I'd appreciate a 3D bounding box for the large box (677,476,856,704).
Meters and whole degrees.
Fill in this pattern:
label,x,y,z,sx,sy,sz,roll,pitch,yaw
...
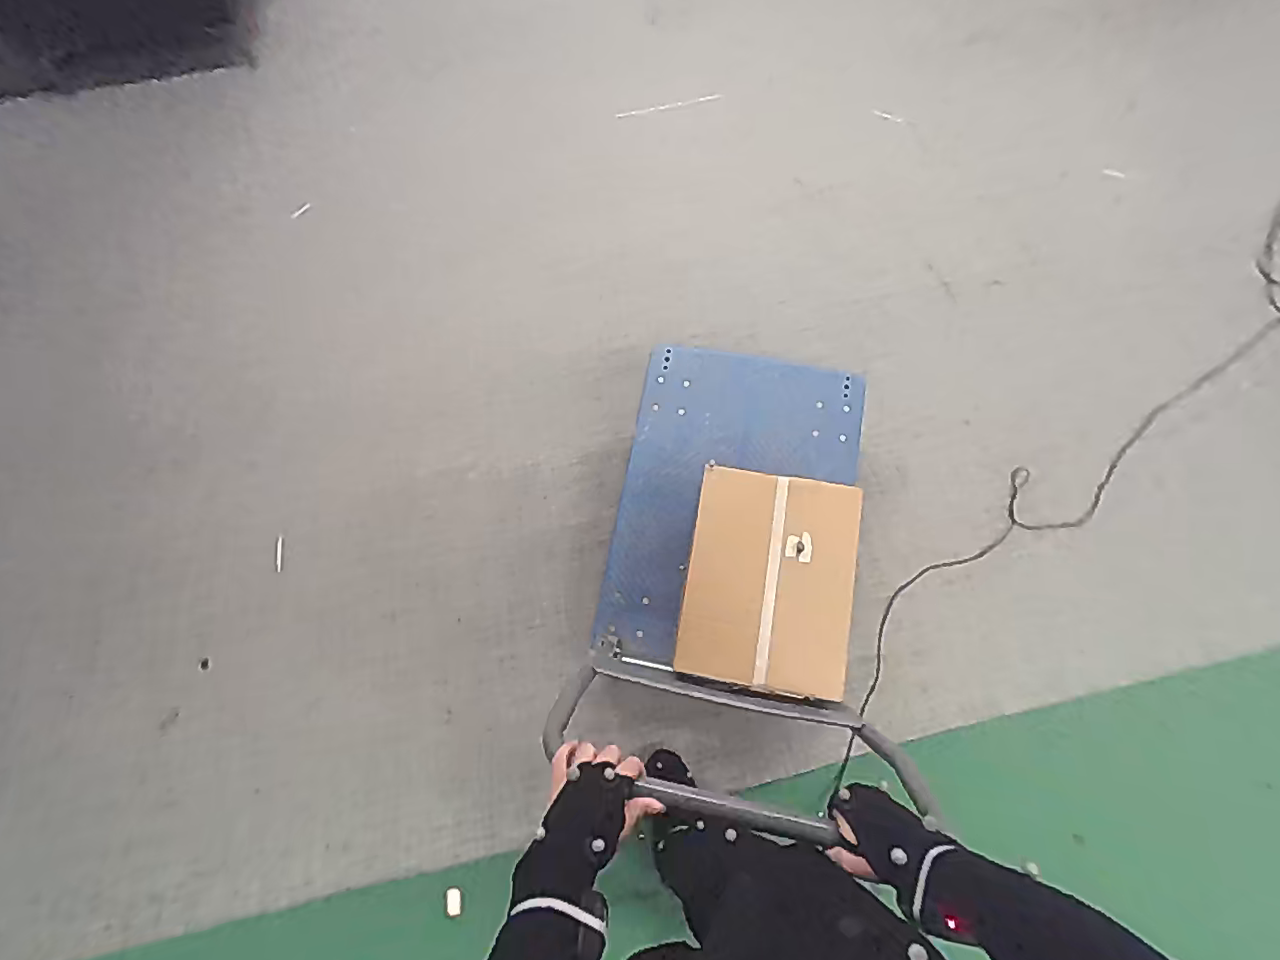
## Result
label,x,y,z,sx,sy,sz,roll,pitch,yaw
large box,0.262,0.239,1.197,0.320,0.320,0.408,9,77,6
